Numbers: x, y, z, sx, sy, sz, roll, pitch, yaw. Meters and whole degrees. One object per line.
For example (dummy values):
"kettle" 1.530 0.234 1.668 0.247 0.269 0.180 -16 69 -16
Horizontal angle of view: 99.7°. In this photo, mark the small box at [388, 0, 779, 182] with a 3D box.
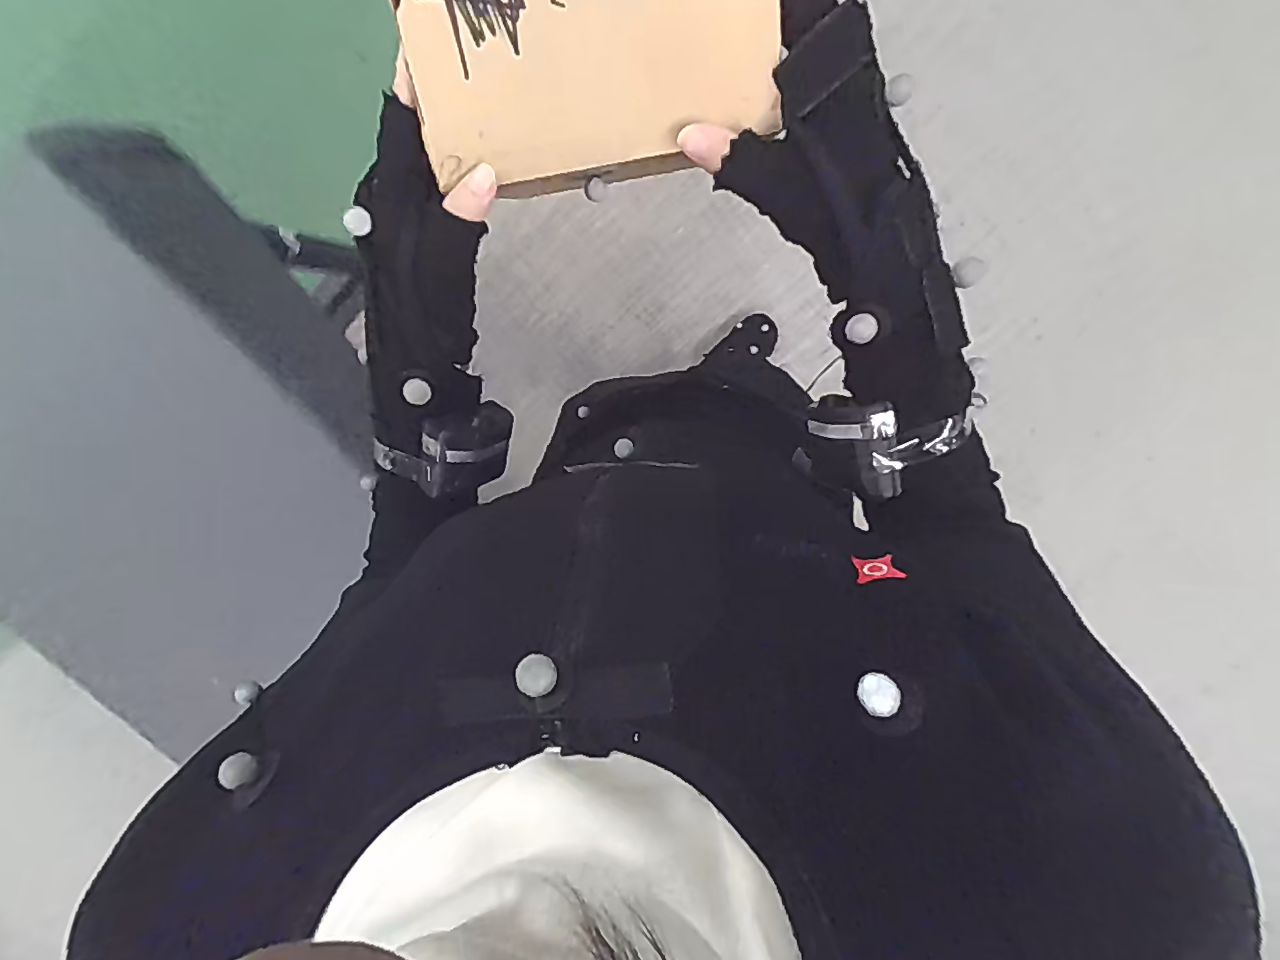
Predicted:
"small box" -0.024 -0.269 0.298 0.179 0.176 0.168 -5 118 6
